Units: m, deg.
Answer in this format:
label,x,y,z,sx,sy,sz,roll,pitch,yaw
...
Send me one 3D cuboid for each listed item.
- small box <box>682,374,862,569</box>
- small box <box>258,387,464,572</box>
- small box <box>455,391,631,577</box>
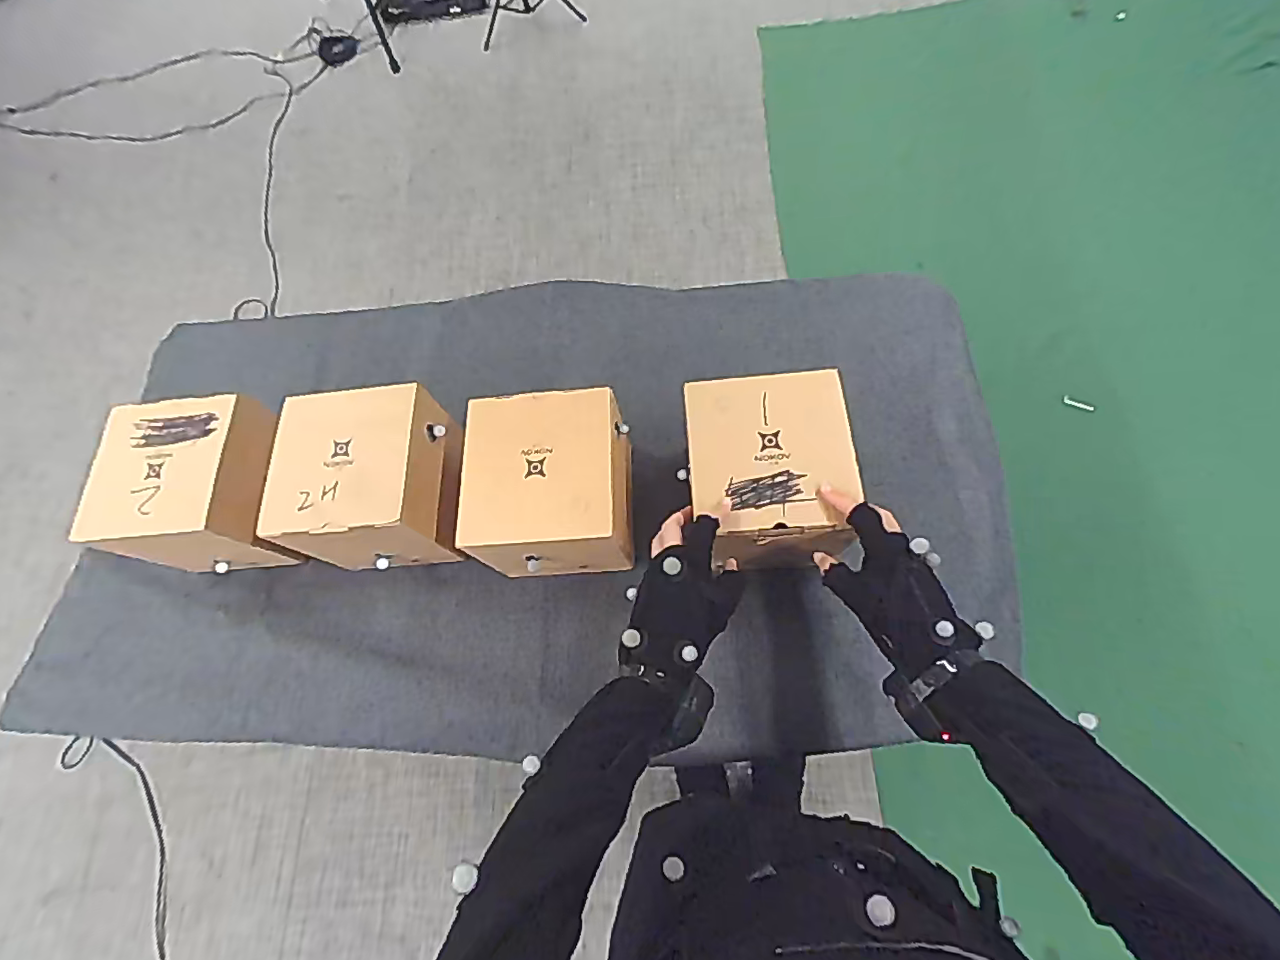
label,x,y,z,sx,sy,sz,roll,pitch,yaw
small box,0.139,0.002,0.624,0.168,0.176,0.179,-4,67,5
small box,-0.325,0.007,0.679,0.168,0.176,0.179,-5,68,5
small box,-0.103,0.017,0.650,0.168,0.176,0.179,-4,67,5
